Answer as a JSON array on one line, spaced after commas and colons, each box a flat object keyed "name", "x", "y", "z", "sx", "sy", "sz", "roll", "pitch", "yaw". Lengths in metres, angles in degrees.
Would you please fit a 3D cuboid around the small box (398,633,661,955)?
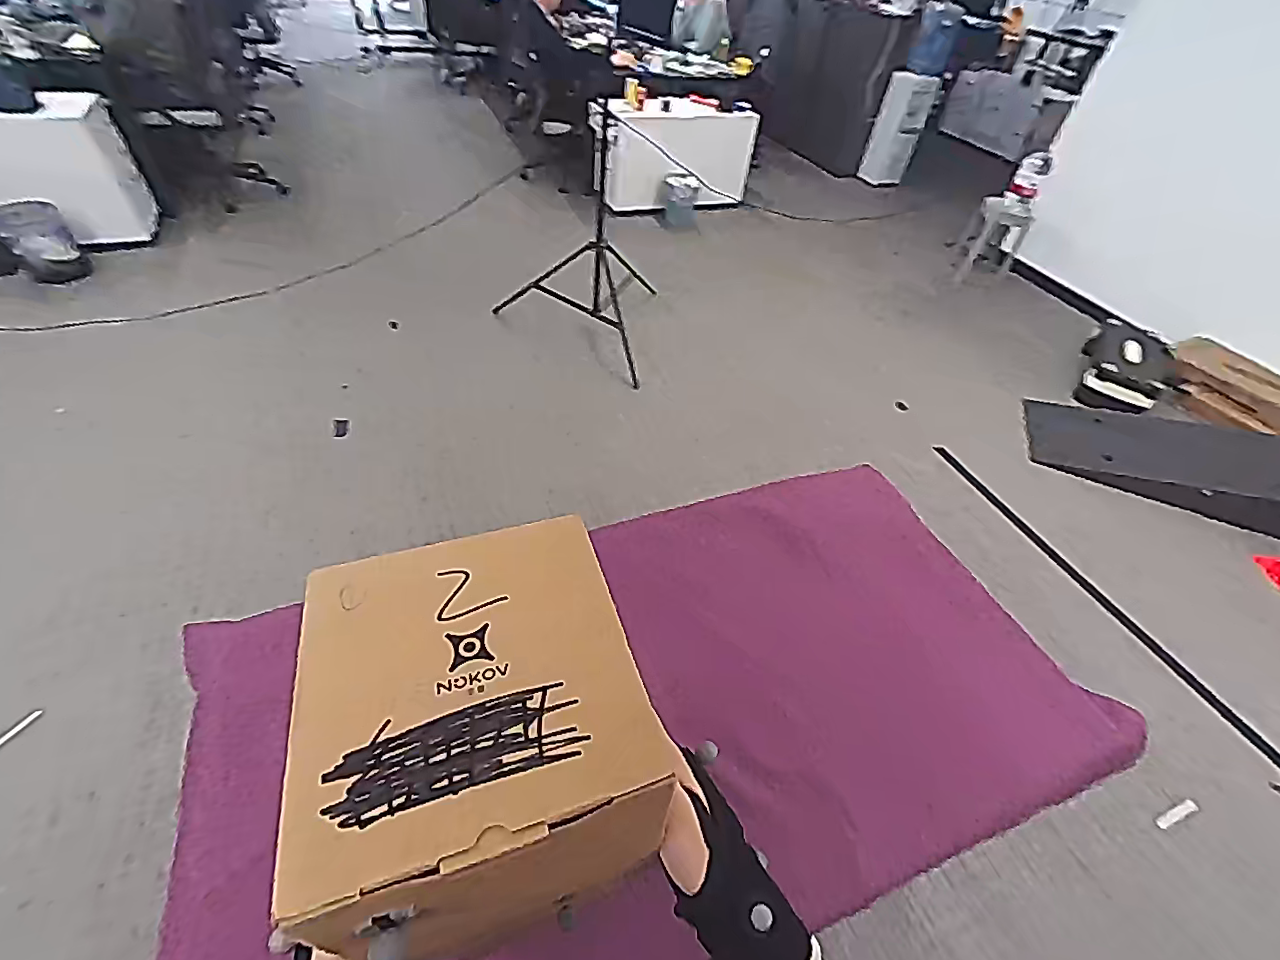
[{"name": "small box", "x": -0.096, "y": 0.272, "z": 0.476, "sx": 0.168, "sy": 0.176, "sz": 0.179, "roll": -15, "pitch": 51, "yaw": -20}]
